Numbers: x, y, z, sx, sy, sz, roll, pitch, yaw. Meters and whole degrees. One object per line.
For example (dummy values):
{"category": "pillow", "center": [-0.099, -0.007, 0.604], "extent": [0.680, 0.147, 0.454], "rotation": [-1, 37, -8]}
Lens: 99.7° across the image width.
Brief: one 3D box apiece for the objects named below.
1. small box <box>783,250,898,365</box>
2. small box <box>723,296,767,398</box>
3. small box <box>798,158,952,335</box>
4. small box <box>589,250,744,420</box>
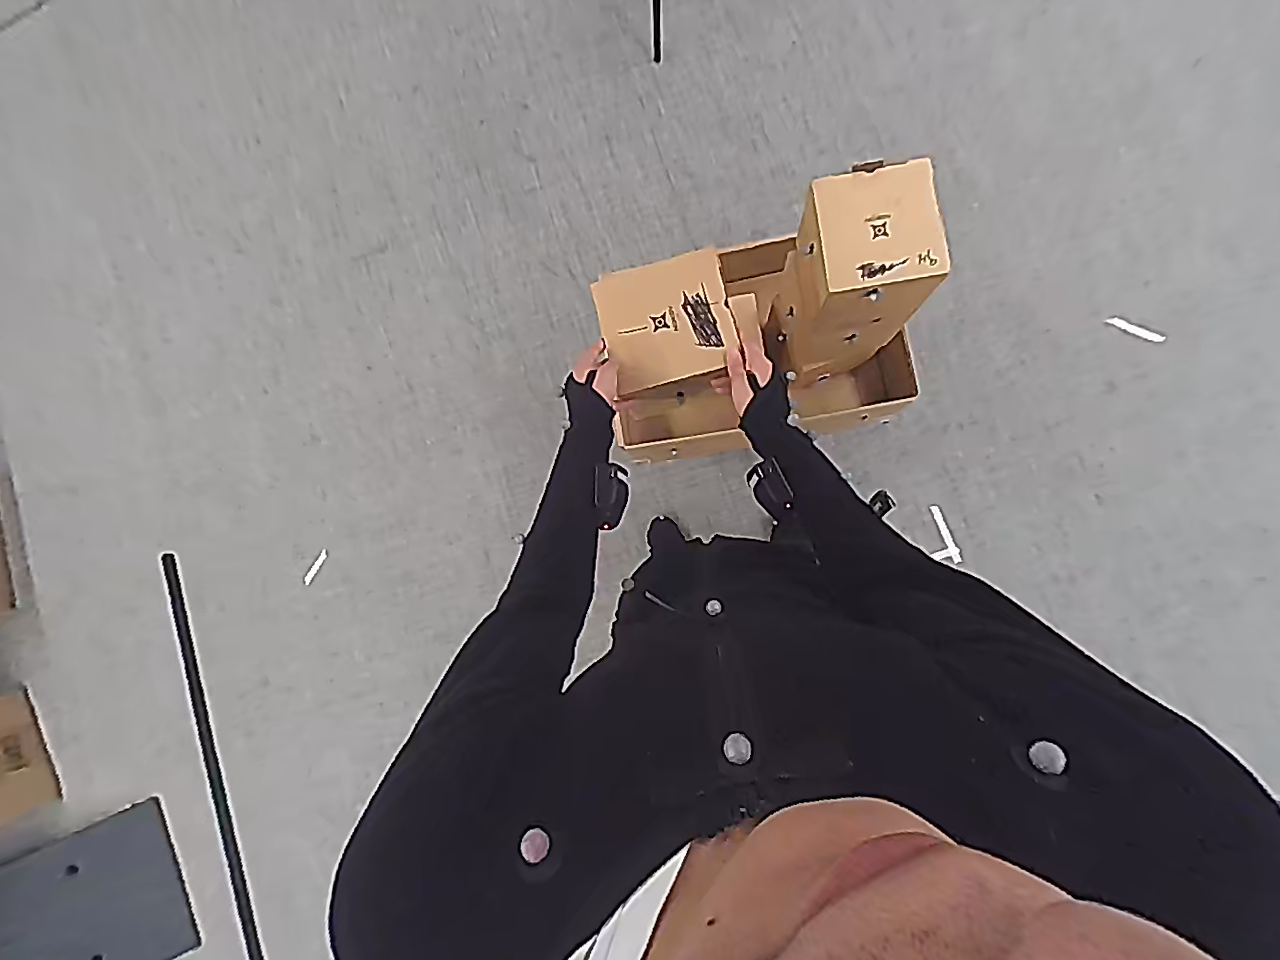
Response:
{"category": "small box", "center": [0.366, -0.325, 0.990], "extent": [0.179, 0.176, 0.168], "rotation": [-13, 83, 7]}
{"category": "small box", "center": [0.168, -0.277, 1.178], "extent": [0.179, 0.176, 0.168], "rotation": [-8, 83, 6]}
{"category": "small box", "center": [0.344, -0.344, 0.828], "extent": [0.168, 0.176, 0.179], "rotation": [-7, 83, 8]}
{"category": "small box", "center": [0.043, -0.198, 0.786], "extent": [0.179, 0.176, 0.168], "rotation": [-14, 83, 8]}
